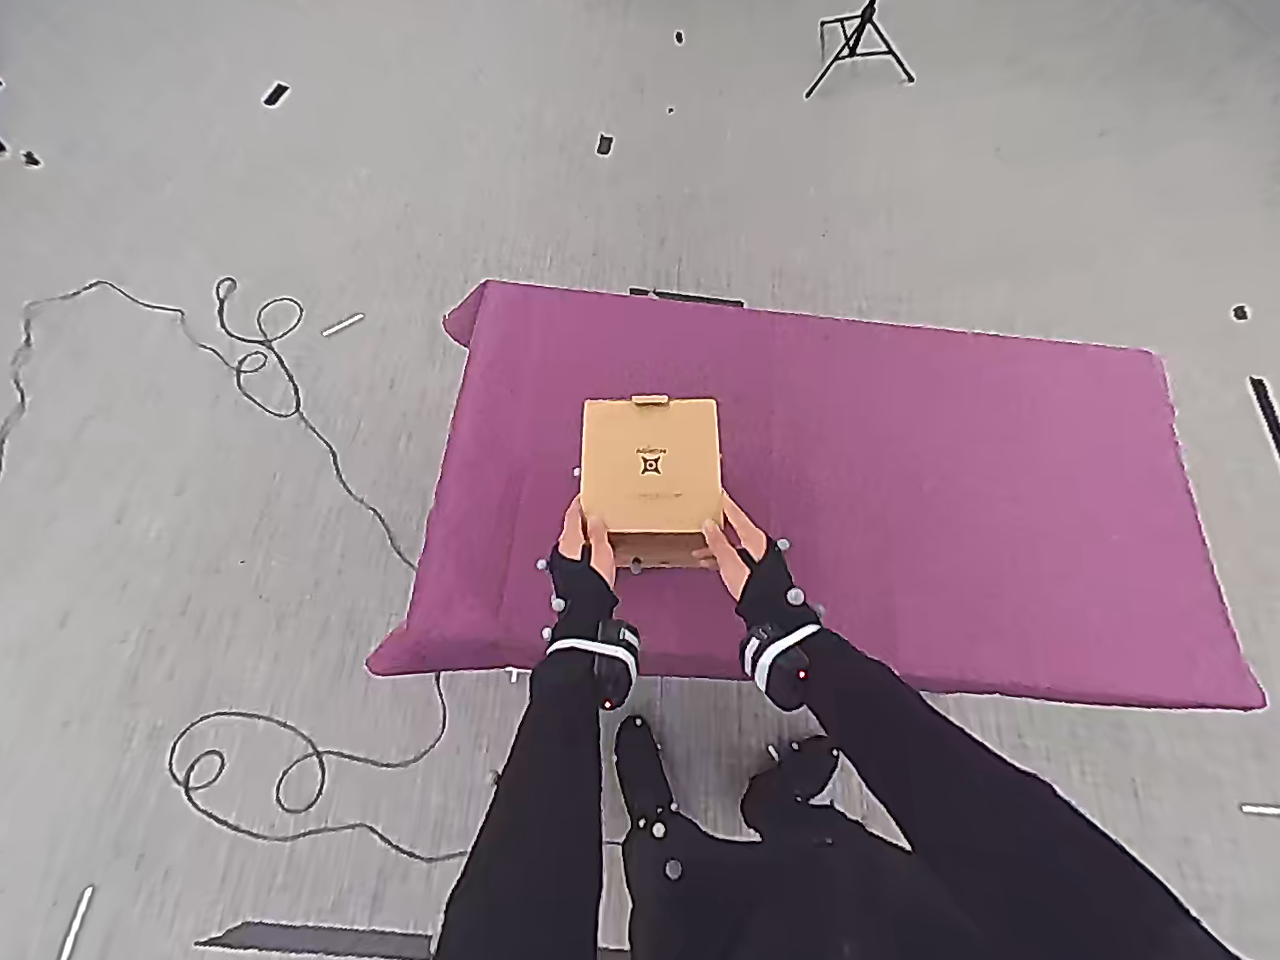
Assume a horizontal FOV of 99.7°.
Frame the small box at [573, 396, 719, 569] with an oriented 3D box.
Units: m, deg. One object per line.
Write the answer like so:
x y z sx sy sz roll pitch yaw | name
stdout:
0.007 0.009 0.702 0.168 0.176 0.179 0 67 0 | small box
